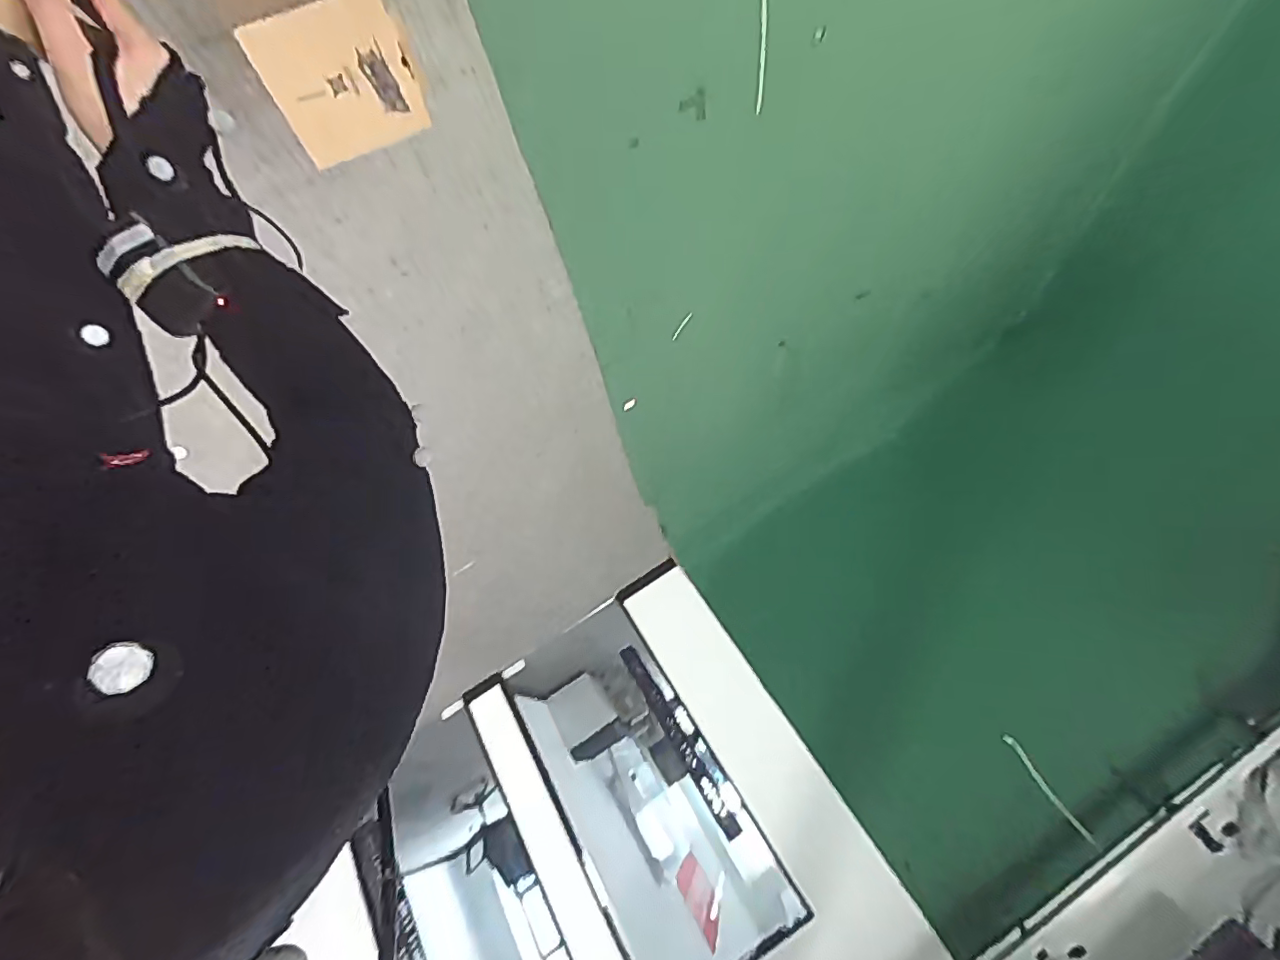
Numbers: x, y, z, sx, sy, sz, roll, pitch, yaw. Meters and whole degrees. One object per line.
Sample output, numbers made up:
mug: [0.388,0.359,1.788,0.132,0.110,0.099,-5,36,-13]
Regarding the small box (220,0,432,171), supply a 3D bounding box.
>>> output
small box: [-0.421,-0.566,0.733,0.179,0.176,0.168,-29,151,-11]
